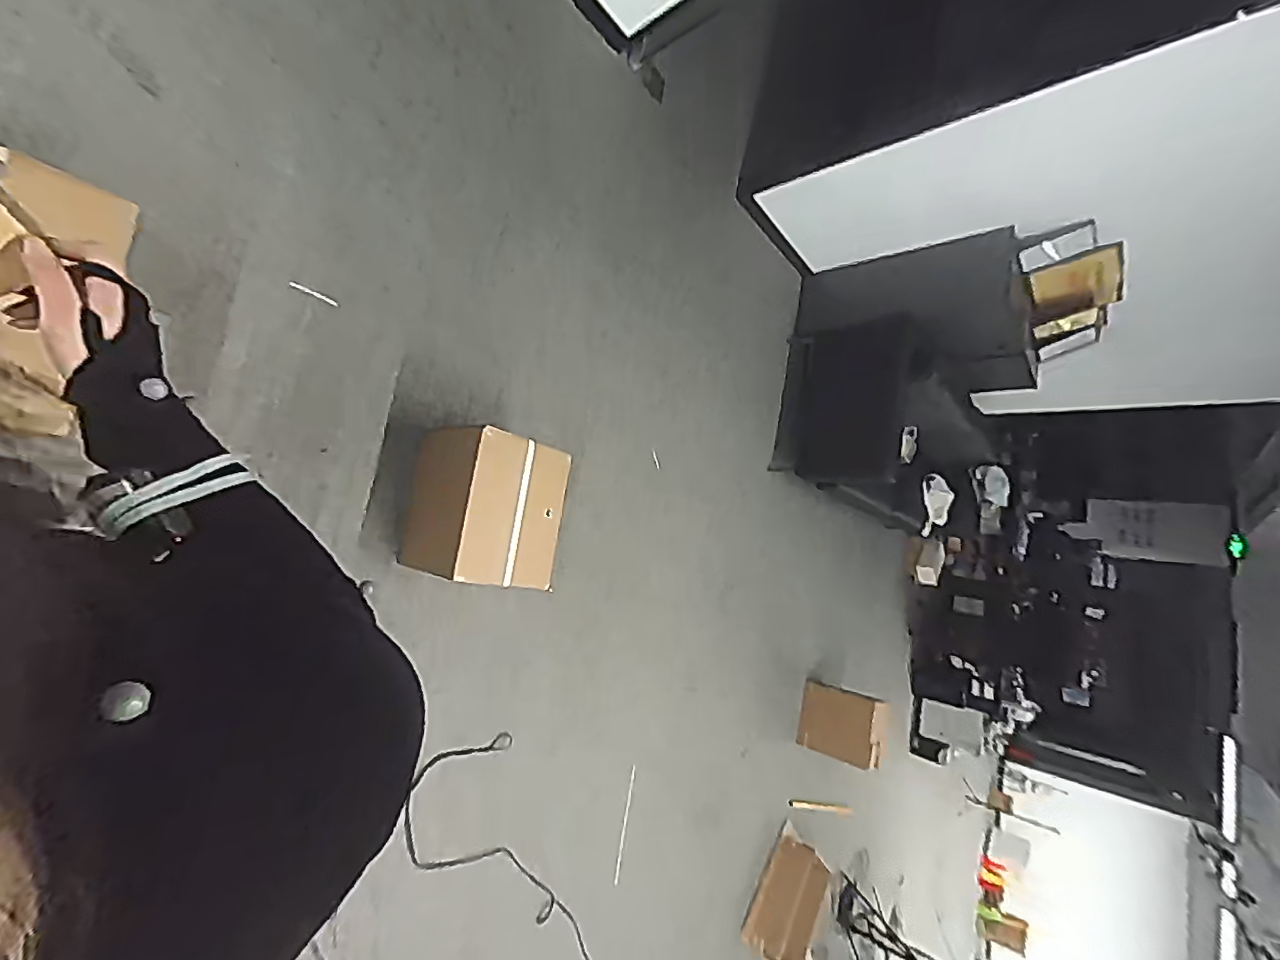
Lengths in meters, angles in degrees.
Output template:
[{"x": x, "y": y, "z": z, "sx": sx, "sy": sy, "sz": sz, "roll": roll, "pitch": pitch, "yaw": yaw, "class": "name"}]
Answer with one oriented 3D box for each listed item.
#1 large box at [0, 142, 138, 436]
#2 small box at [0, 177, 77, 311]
[{"x": -1.076, "y": -0.303, "z": 0.868, "sx": 0.320, "sy": 0.320, "sz": 0.408, "roll": 18, "pitch": 78, "yaw": -47, "class": "large box"}, {"x": -0.539, "y": -0.185, "z": 0.348, "sx": 0.179, "sy": 0.176, "sz": 0.168, "roll": -42, "pitch": 142, "yaw": -21, "class": "small box"}]
